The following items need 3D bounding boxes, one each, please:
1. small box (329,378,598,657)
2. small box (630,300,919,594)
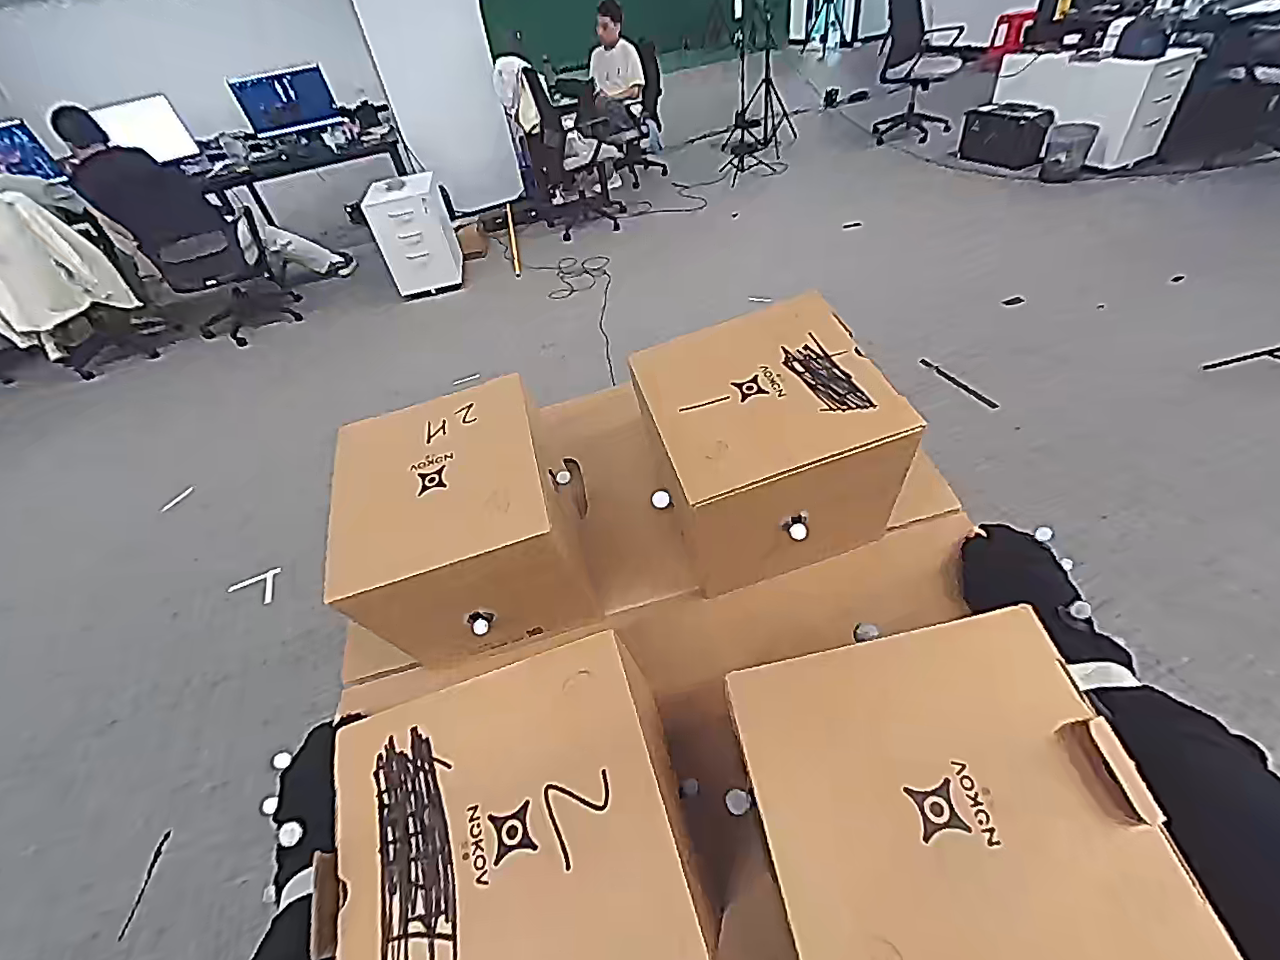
[{"bbox_3d":[-0.146,0.044,0.491,0.168,0.176,0.179,-17,53,-1],"label":"small box"},{"bbox_3d":[0.106,-0.022,0.483,0.179,0.176,0.168,-19,54,0],"label":"small box"}]
